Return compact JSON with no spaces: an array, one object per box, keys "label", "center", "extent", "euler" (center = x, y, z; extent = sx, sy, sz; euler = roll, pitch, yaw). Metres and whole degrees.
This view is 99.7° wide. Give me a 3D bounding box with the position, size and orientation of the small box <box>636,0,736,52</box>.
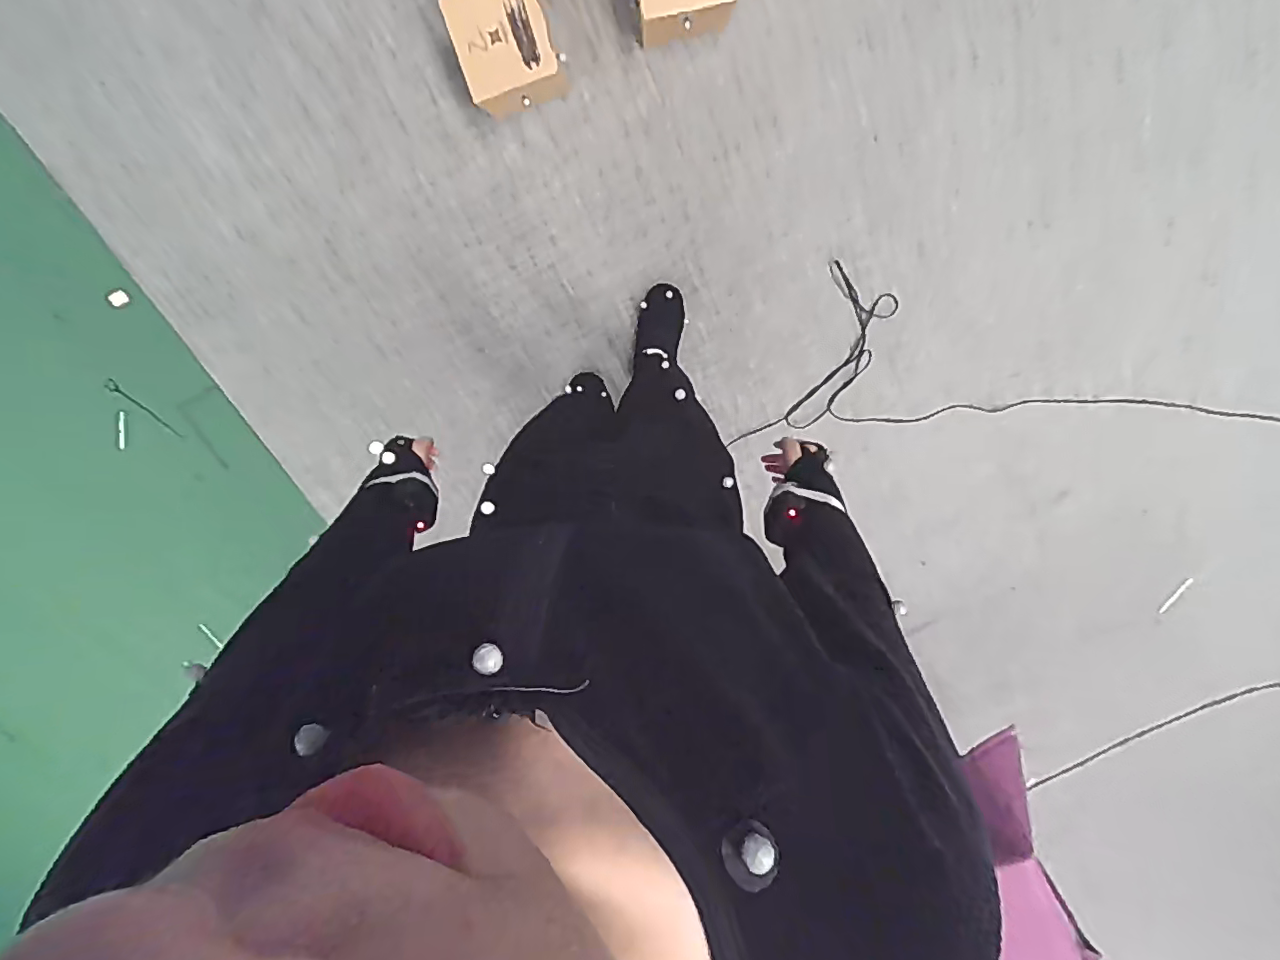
[{"label":"small box","center":[0.077,-0.934,1.009],"extent":[0.179,0.176,0.168],"euler":[-8,114,4]}]
